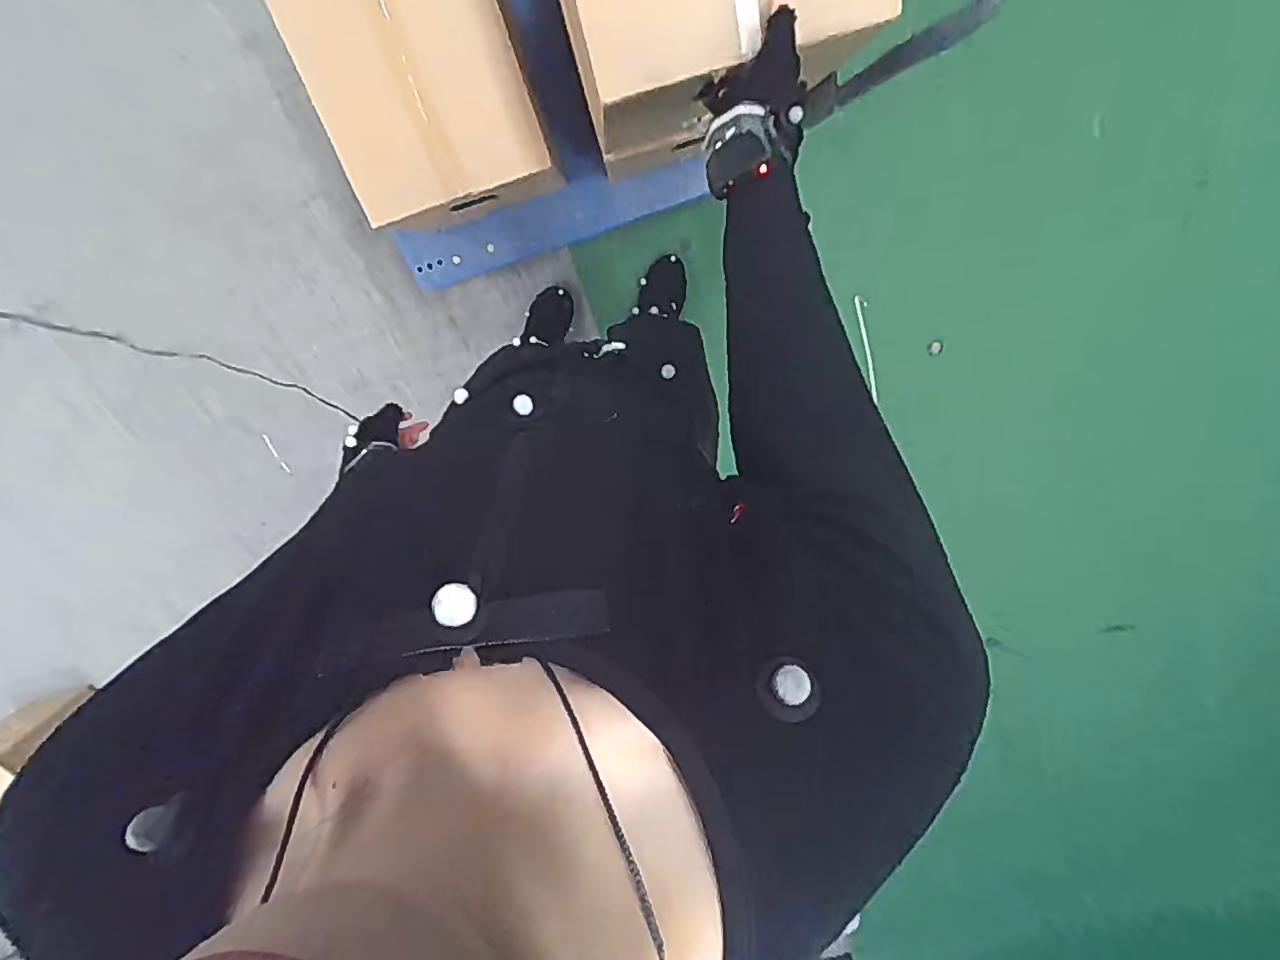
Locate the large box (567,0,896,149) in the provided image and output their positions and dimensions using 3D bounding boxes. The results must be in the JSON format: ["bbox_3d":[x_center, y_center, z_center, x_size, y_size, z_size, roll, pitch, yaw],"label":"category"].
[{"bbox_3d":[0.049,-0.653,0.593,0.320,0.320,0.408,-15,112,3],"label":"large box"}]
